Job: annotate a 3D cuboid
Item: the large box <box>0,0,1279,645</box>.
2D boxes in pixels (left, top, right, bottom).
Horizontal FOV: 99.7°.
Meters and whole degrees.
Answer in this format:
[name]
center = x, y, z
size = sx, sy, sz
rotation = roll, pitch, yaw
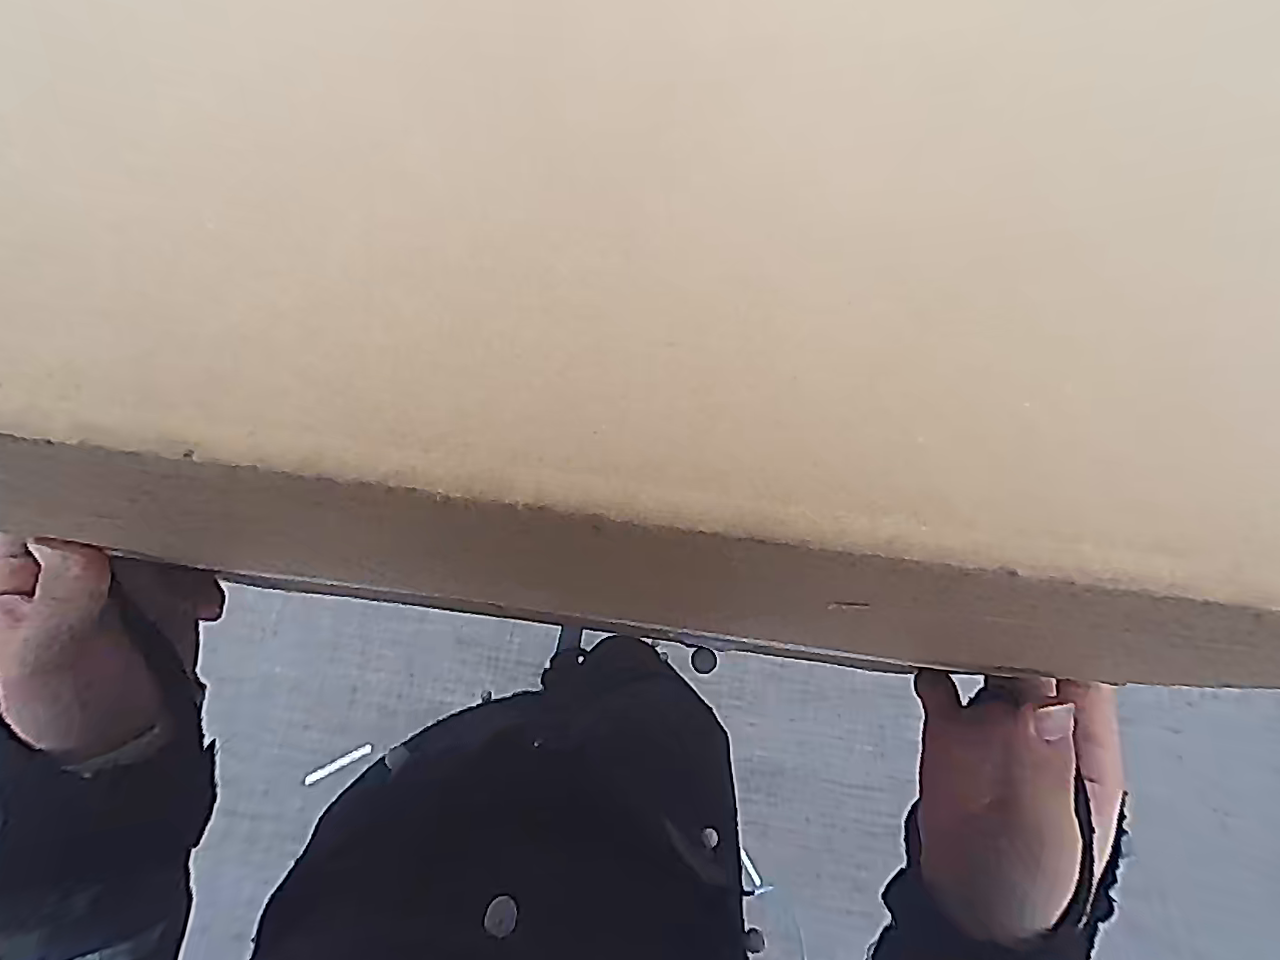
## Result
[large box]
center = -0.010, -0.106, 0.274
size = 0.408, 0.320, 0.320
rotation = 8, 72, -1
